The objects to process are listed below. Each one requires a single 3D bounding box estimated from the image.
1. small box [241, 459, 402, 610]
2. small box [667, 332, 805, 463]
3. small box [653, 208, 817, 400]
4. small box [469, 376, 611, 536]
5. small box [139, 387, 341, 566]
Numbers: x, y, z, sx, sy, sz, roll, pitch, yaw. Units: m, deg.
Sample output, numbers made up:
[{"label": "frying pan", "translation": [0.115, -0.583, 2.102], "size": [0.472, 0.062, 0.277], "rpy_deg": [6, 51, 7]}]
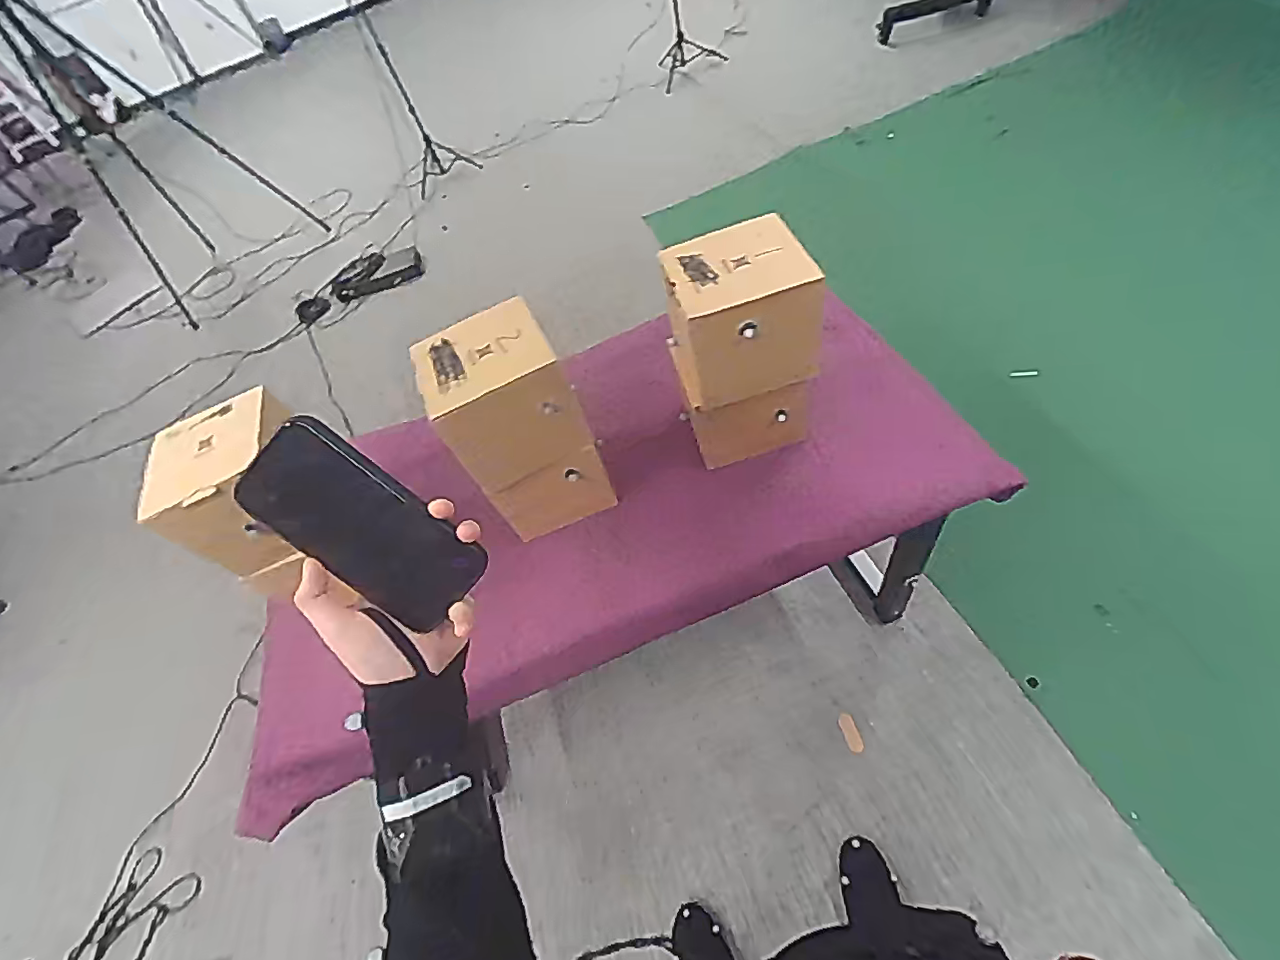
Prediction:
[{"label": "small box", "translation": [-0.525, 0.102, 0.917], "size": [0.168, 0.176, 0.179], "rpy_deg": [-22, 53, 0]}, {"label": "small box", "translation": [0.160, -0.156, 0.899], "size": [0.179, 0.176, 0.168], "rpy_deg": [-18, 53, 4]}, {"label": "small box", "translation": [0.134, -0.240, 0.760], "size": [0.179, 0.176, 0.168], "rpy_deg": [-18, 53, 3]}, {"label": "small box", "translation": [-0.159, -0.035, 0.905], "size": [0.179, 0.176, 0.168], "rpy_deg": [-23, 53, 0]}, {"label": "small box", "translation": [-0.566, 0.004, 0.790], "size": [0.168, 0.176, 0.179], "rpy_deg": [-26, 54, -4]}]
